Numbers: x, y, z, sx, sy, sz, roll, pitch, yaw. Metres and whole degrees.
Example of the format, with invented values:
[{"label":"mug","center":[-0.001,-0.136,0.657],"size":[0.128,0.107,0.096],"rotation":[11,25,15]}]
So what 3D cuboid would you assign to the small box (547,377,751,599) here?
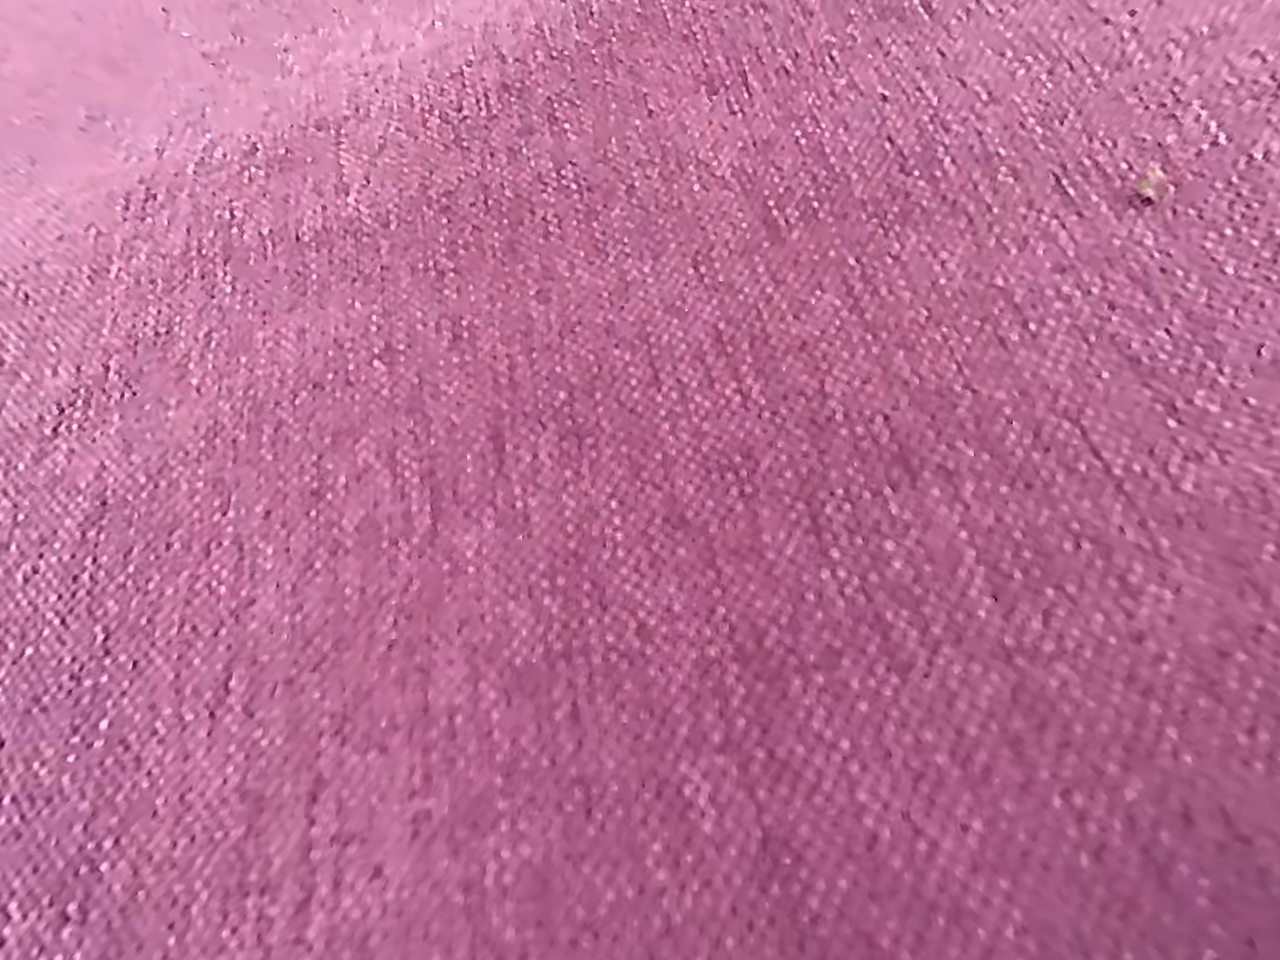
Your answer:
[{"label":"small box","center":[0.011,0.019,0.606],"size":[0.168,0.176,0.179],"rotation":[-19,70,0]}]

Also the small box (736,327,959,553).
[{"label":"small box","center":[0.213,-0.036,0.618],"size":[0.168,0.176,0.179],"rotation":[-19,68,2]}]
